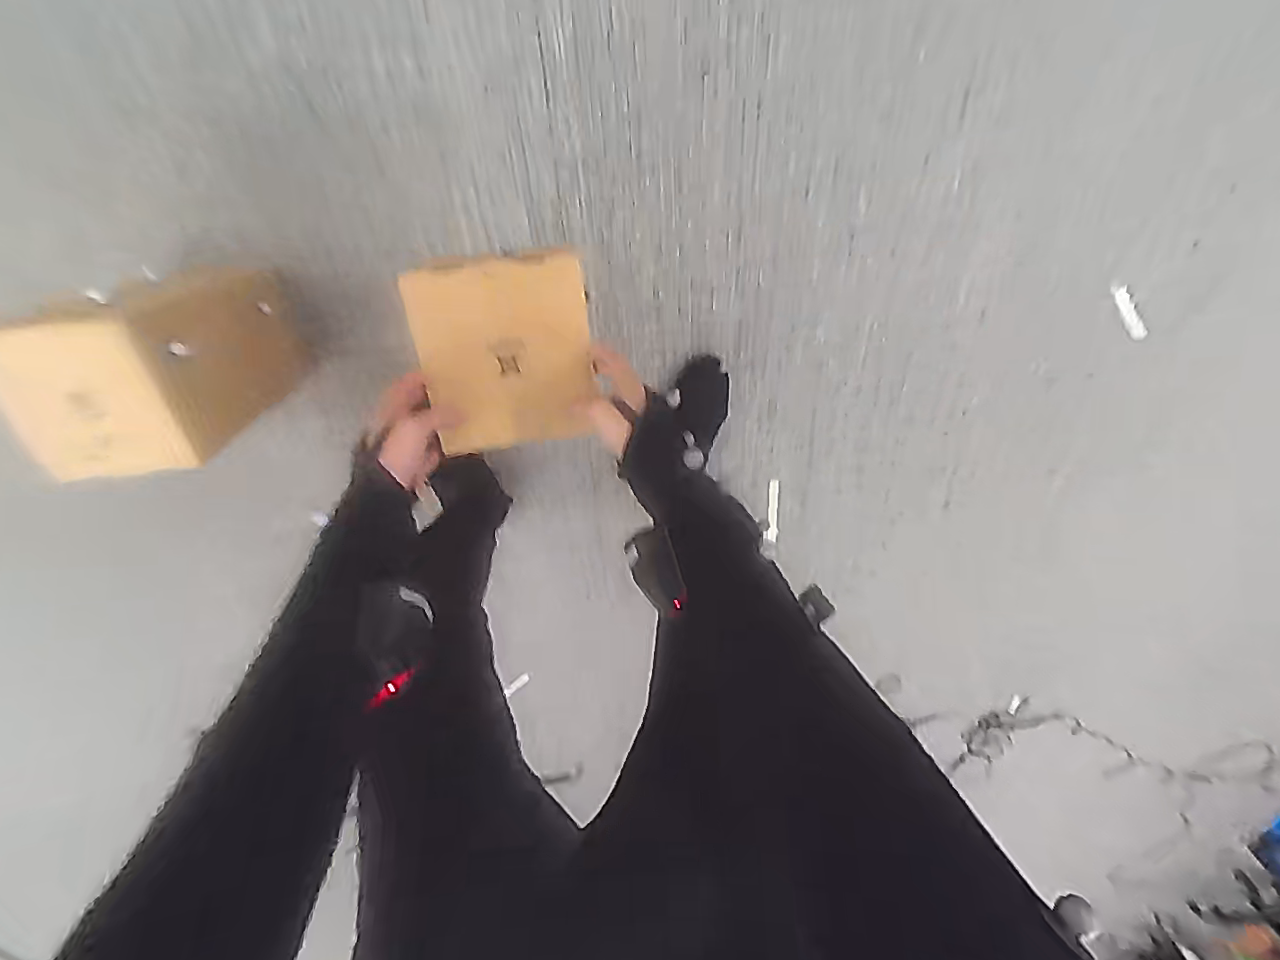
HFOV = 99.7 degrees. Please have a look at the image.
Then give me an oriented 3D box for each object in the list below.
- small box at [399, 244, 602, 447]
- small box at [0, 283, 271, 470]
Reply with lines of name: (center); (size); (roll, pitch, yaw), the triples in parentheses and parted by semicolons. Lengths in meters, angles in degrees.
small box: (-0.137, -0.155, 0.589); (0.168, 0.176, 0.179); (-9, 115, -6)
small box: (-0.598, -0.134, 0.656); (0.168, 0.176, 0.179); (-5, 122, -3)
